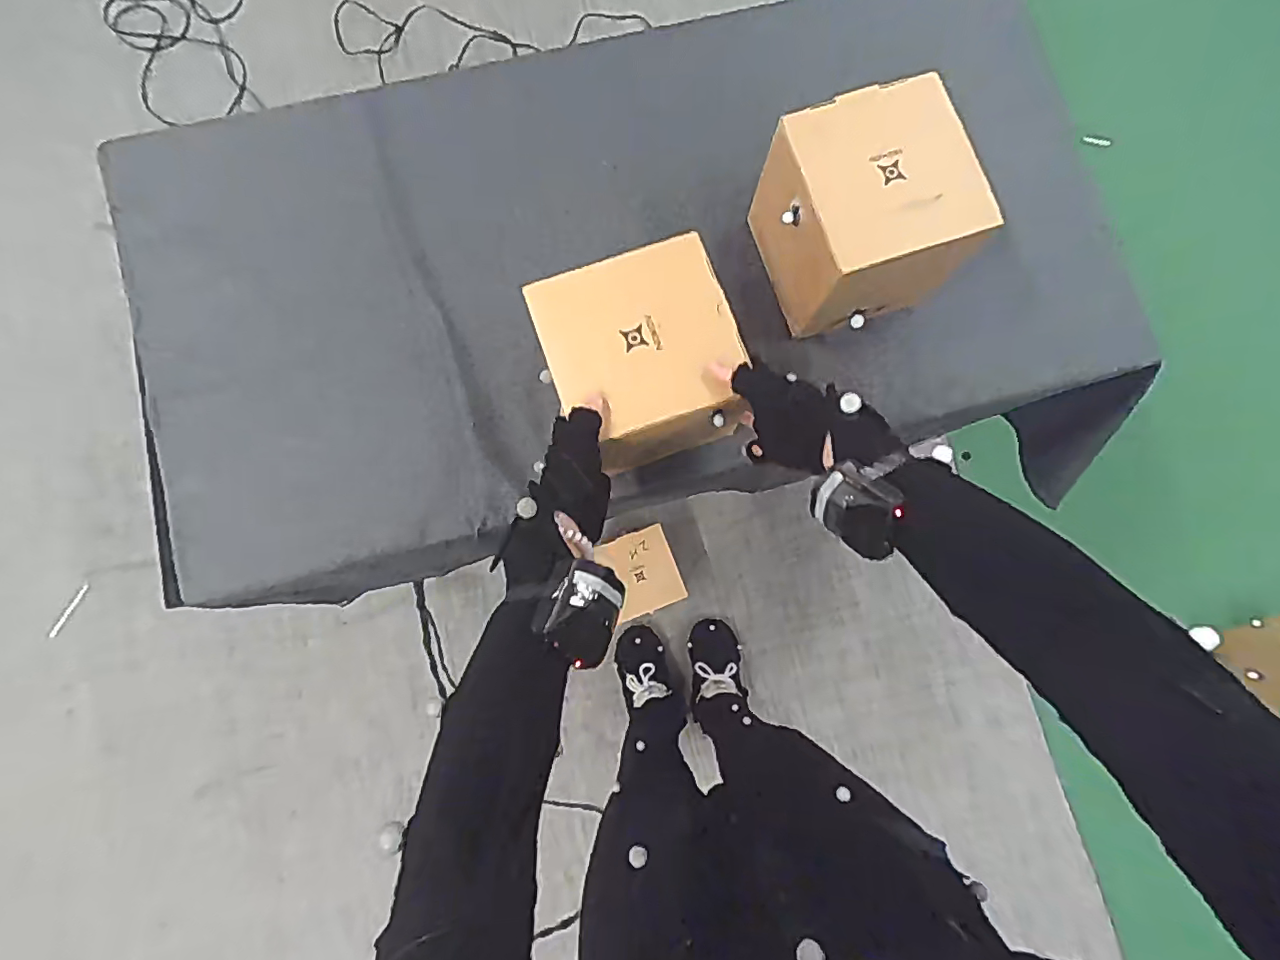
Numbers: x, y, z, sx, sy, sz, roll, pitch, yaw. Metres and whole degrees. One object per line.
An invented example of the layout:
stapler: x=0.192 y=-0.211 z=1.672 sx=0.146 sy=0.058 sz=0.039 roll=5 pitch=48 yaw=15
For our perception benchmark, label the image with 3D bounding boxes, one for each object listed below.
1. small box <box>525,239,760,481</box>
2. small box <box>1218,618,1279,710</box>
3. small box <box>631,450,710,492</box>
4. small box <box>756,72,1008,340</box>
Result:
small box: x=0.002 y=-0.108 z=0.561 sx=0.179 sy=0.176 sz=0.168 roll=-18 pitch=81 yaw=-3
small box: x=1.490 y=0.422 z=1.229 sx=0.179 sy=0.176 sz=0.168 roll=-15 pitch=82 yaw=-1
small box: x=0.054 y=-0.076 z=1.290 sx=0.179 sy=0.176 sz=0.168 roll=-16 pitch=82 yaw=-1
small box: x=0.240 y=-0.280 z=0.587 sx=0.168 sy=0.176 sz=0.179 roll=-17 pitch=82 yaw=-1
